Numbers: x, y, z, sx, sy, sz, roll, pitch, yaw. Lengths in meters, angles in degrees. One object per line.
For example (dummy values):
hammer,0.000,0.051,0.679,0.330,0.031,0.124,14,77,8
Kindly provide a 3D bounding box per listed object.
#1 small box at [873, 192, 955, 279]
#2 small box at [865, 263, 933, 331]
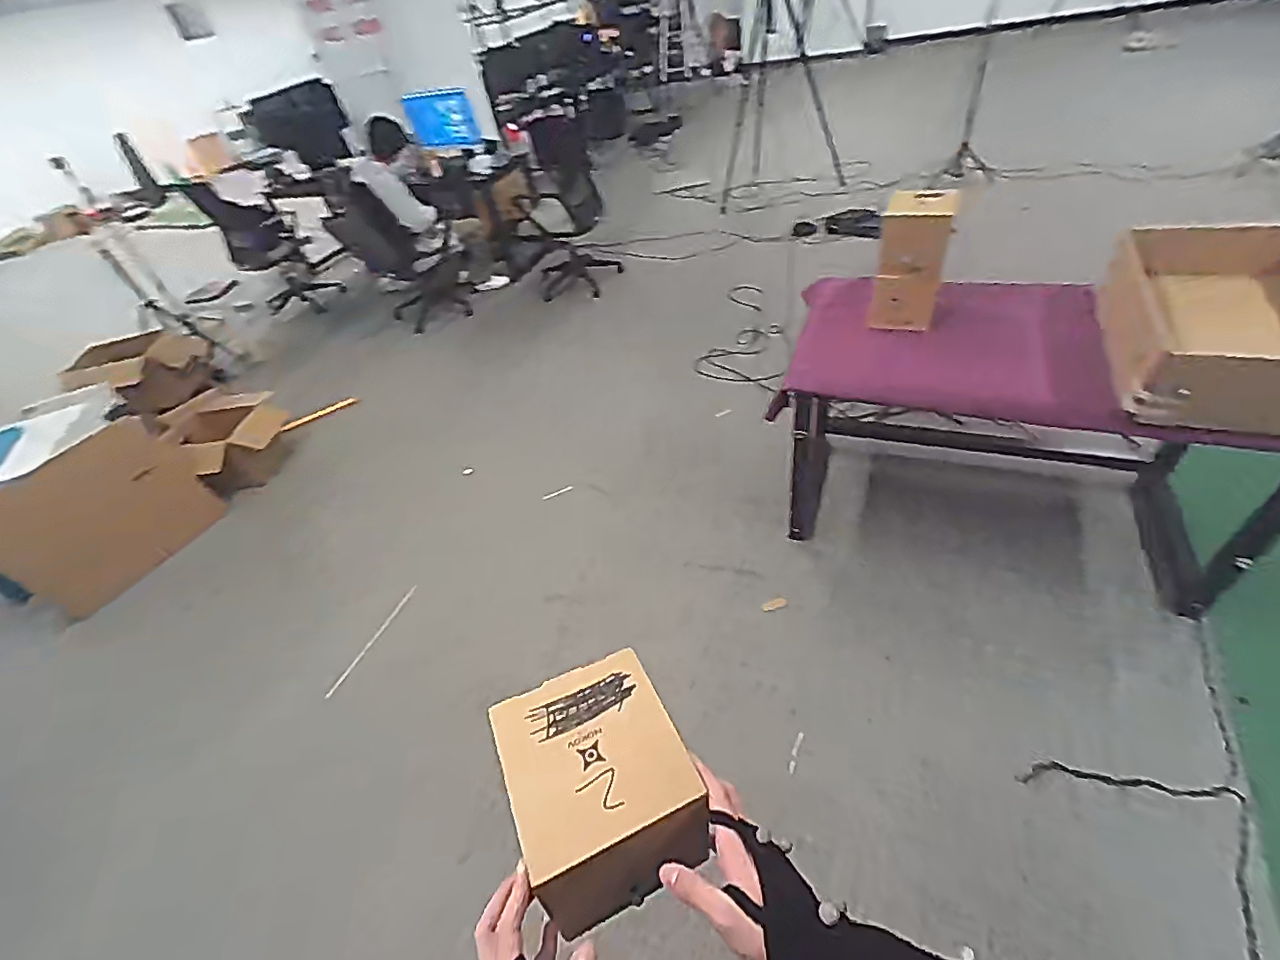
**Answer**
small box,0.751,-0.676,1.492,0.168,0.176,0.179,13,50,25
small box,0.771,-0.559,1.607,0.168,0.176,0.179,9,47,22
